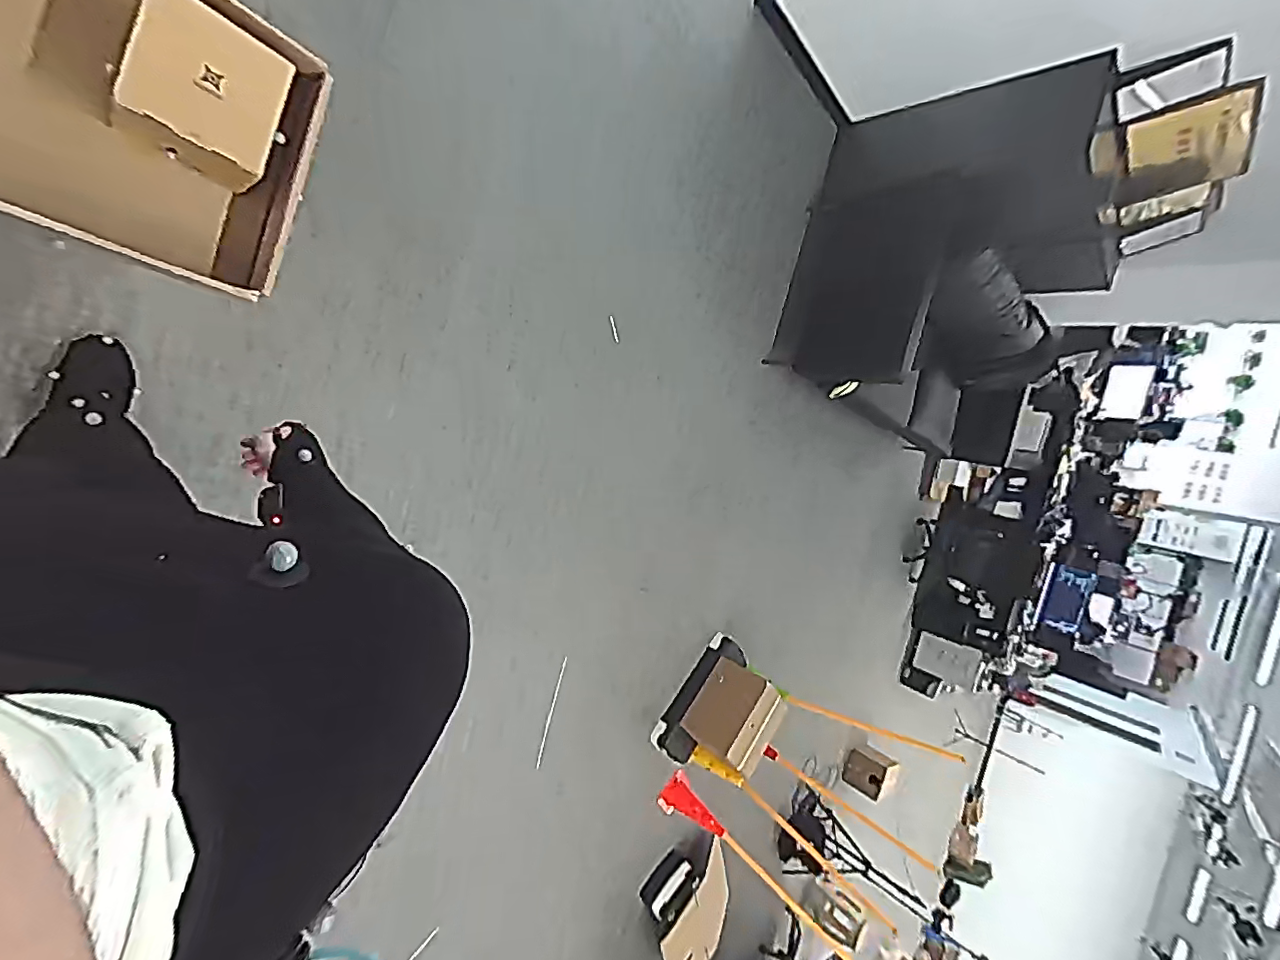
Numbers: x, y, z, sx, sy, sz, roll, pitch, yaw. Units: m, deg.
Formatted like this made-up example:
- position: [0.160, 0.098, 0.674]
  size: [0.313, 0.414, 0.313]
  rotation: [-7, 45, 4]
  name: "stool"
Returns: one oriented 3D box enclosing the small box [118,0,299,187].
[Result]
- position: [-0.643, -0.571, 0.802]
  size: [0.168, 0.176, 0.179]
  rotation: [18, 90, -47]
  name: "small box"
